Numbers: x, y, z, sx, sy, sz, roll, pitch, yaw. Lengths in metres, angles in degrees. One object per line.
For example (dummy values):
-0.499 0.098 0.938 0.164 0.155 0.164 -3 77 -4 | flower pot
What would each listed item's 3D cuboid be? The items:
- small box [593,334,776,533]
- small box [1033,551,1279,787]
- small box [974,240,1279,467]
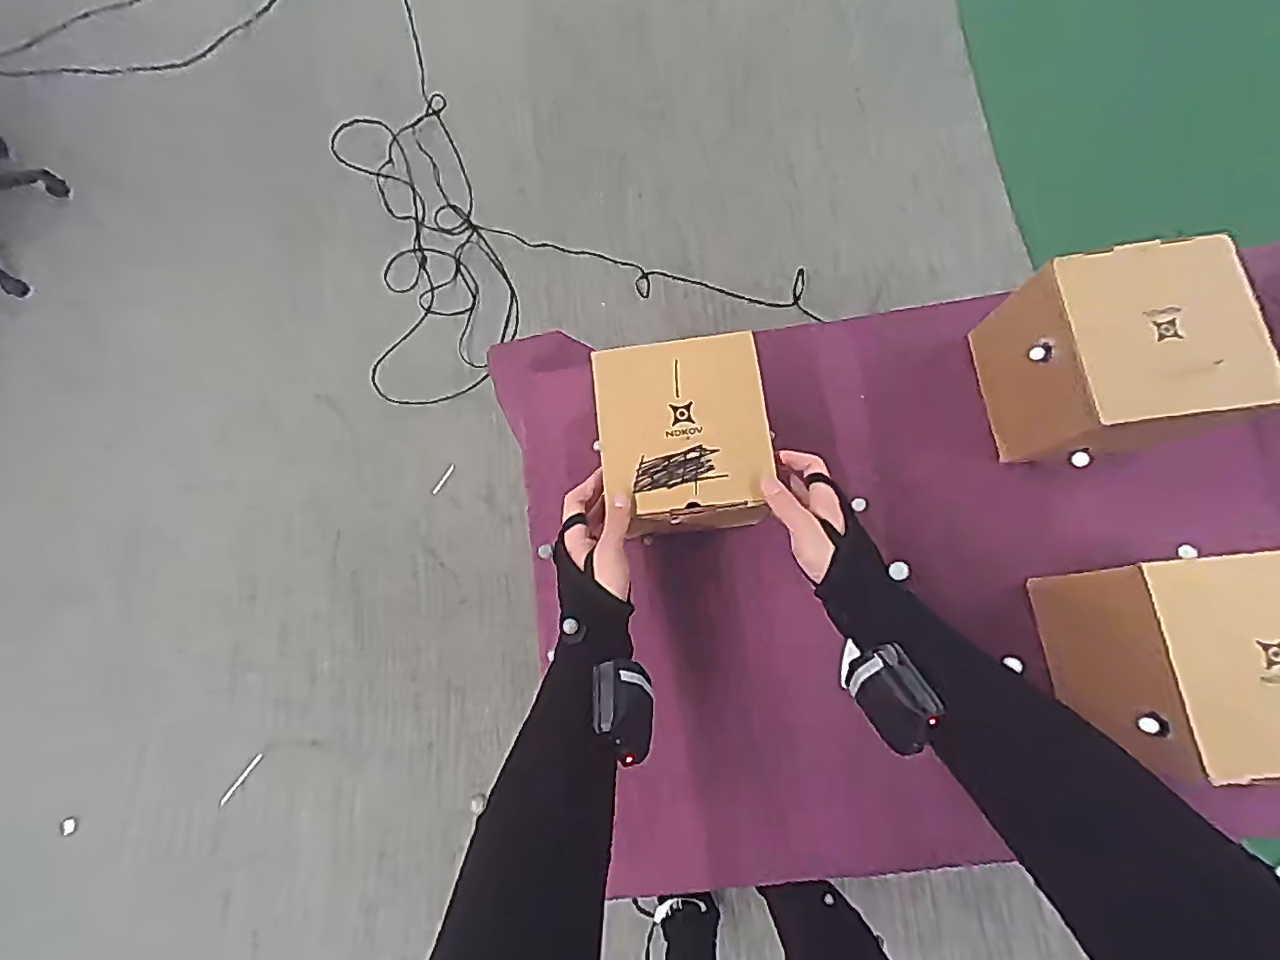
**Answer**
0.047 -0.037 0.603 0.168 0.176 0.179 -7 77 3 | small box
0.521 0.169 0.514 0.168 0.176 0.179 -6 76 4 | small box
0.497 -0.123 0.584 0.168 0.176 0.179 -7 78 4 | small box
